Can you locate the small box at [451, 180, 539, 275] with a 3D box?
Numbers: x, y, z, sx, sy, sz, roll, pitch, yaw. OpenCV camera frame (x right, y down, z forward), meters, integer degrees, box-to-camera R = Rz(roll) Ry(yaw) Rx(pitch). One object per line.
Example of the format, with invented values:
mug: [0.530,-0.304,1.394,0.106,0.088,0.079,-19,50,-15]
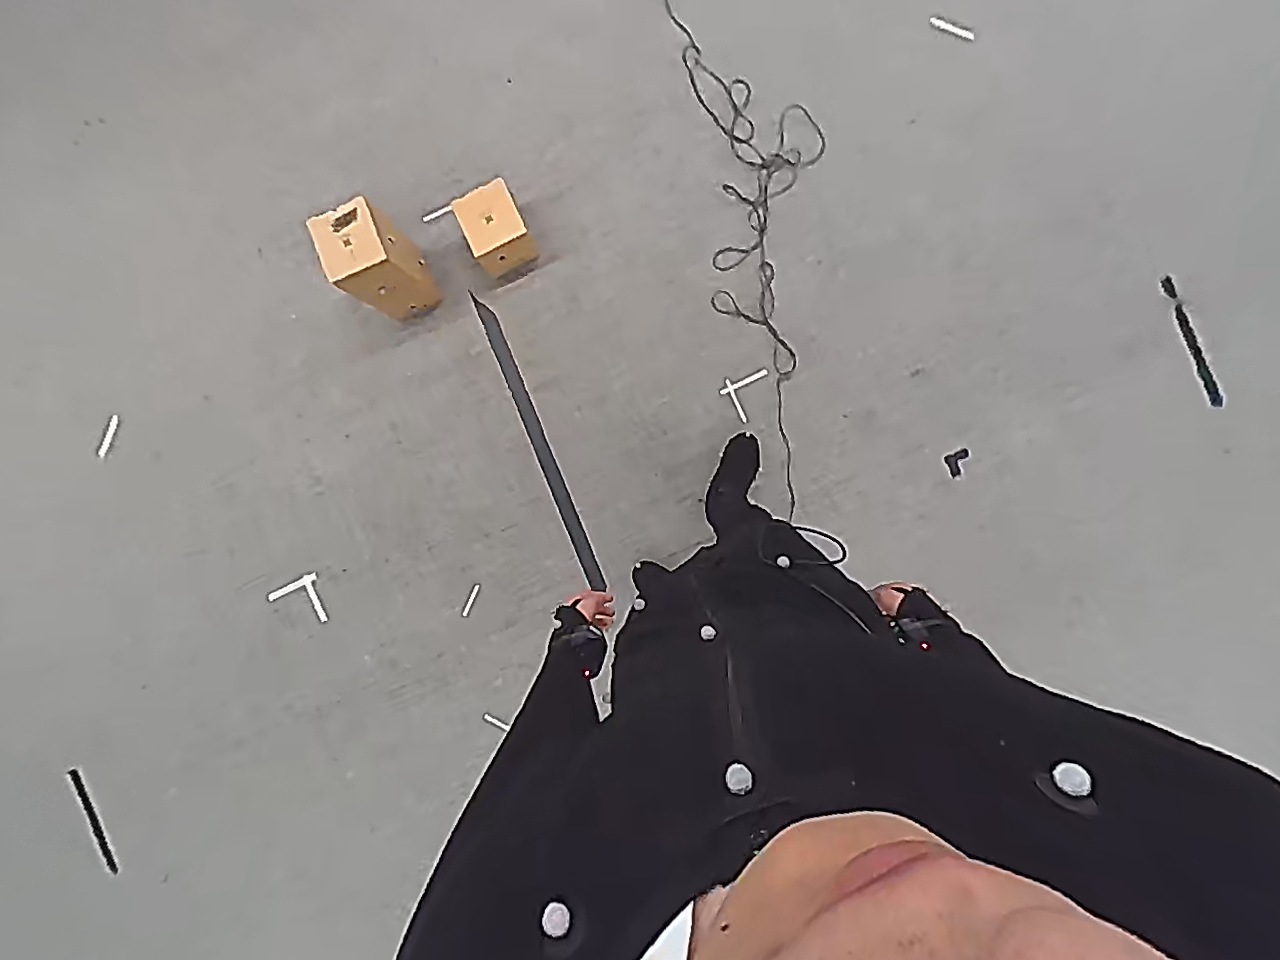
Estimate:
small box: [-0.419,-0.731,1.592,0.168,0.176,0.179,-26,88,3]

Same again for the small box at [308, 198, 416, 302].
small box: [-0.735,-0.606,1.446,0.168,0.176,0.179,-22,89,4]
